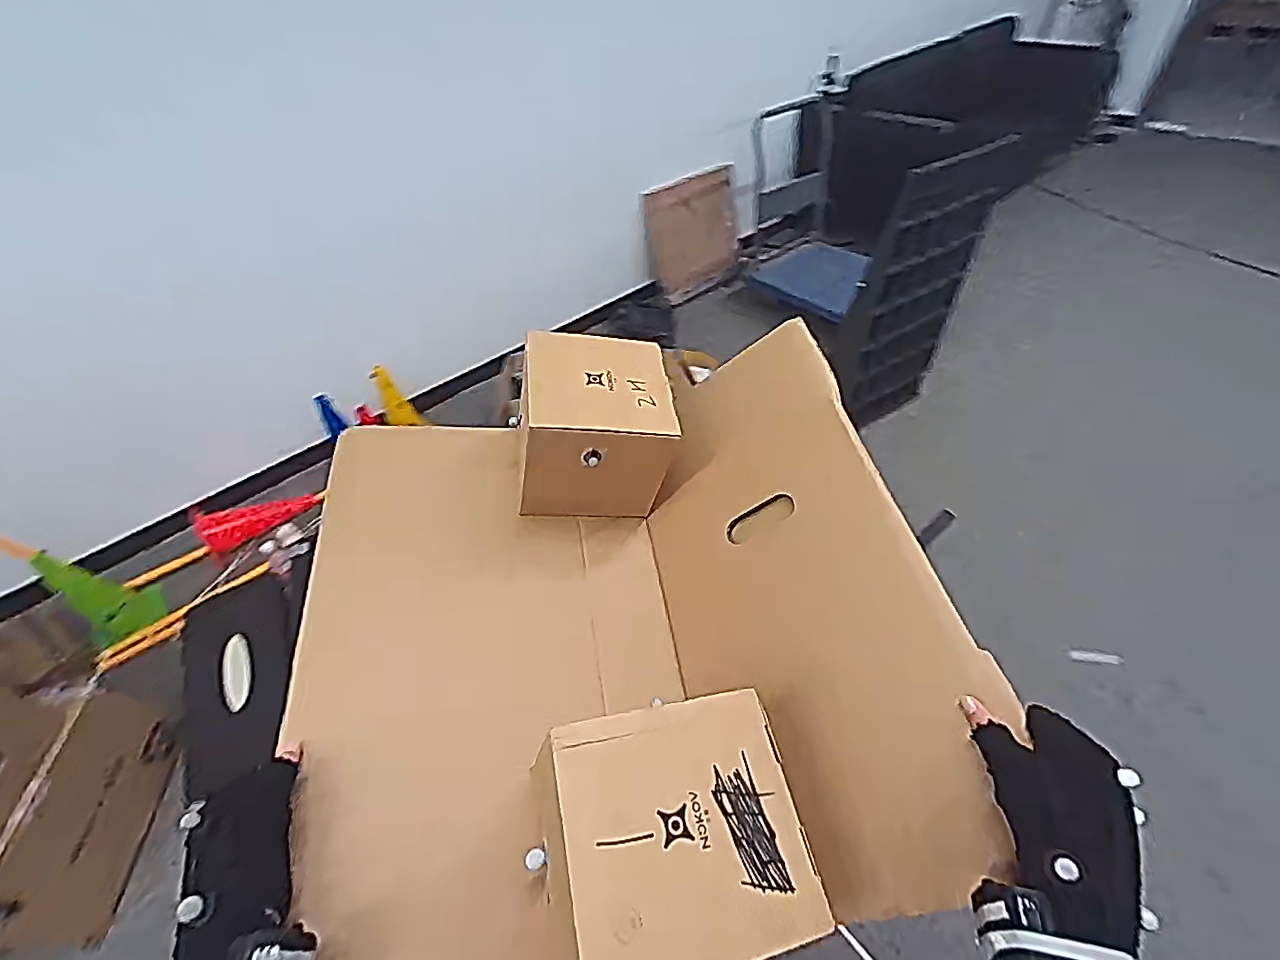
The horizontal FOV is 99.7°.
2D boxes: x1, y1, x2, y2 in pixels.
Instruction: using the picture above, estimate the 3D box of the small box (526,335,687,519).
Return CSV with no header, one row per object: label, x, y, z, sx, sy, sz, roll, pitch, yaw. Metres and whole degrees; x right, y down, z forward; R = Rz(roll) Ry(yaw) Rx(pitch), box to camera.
small box,-0.055,-0.062,0.704,0.179,0.176,0.168,4,52,-15
